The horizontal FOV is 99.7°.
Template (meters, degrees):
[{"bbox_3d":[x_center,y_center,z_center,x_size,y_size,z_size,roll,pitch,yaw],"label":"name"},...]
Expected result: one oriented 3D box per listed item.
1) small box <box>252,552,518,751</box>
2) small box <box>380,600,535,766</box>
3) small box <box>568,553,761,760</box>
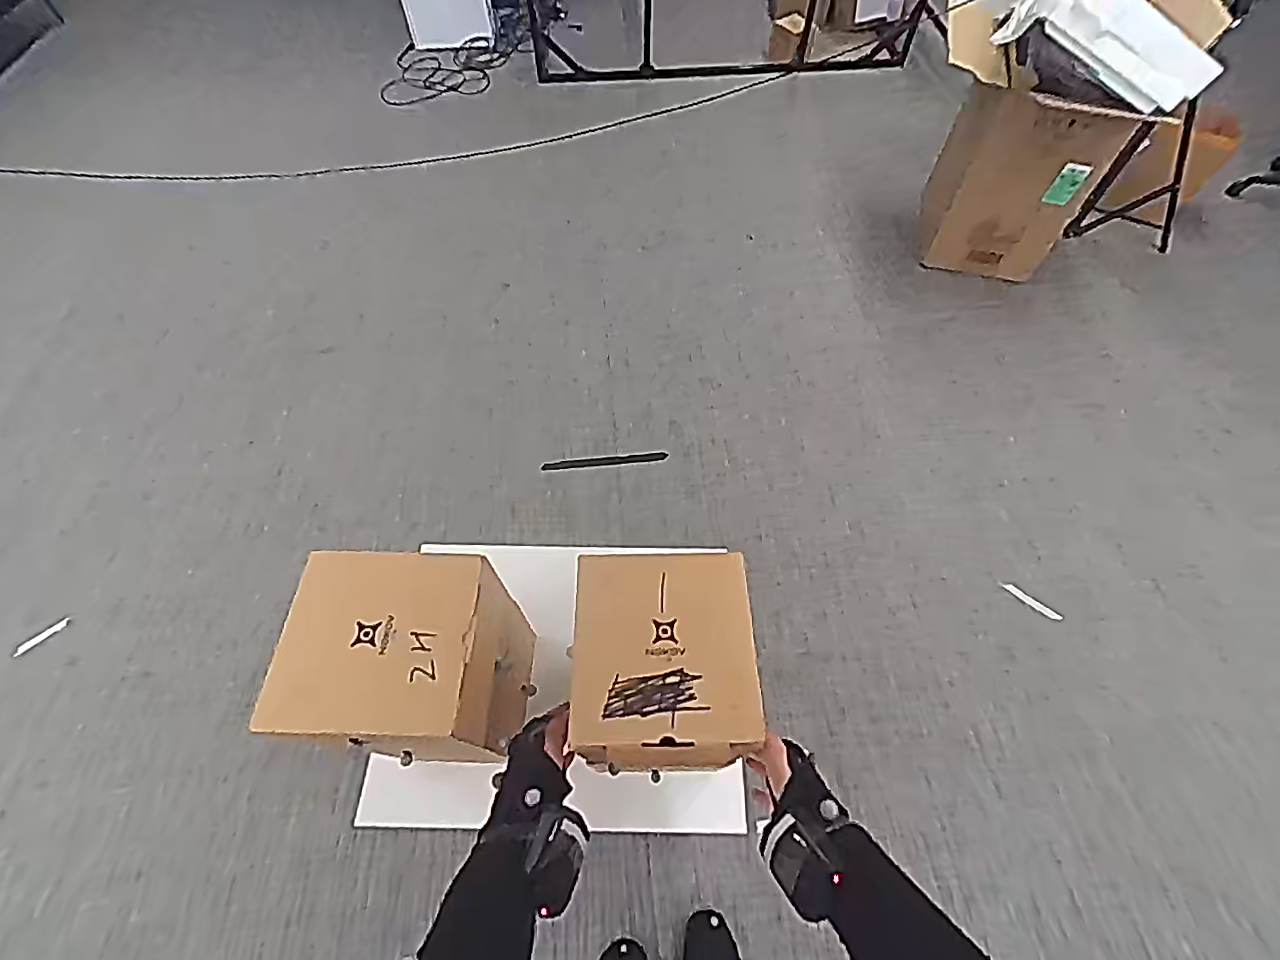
[{"bbox_3d":[-0.239,0.184,0.562,0.179,0.176,0.168,1,60,0],"label":"small box"},{"bbox_3d":[-0.238,0.265,0.706,0.168,0.176,0.179,1,58,1],"label":"small box"},{"bbox_3d":[0.023,0.189,0.560,0.168,0.176,0.179,-1,59,0],"label":"small box"}]
